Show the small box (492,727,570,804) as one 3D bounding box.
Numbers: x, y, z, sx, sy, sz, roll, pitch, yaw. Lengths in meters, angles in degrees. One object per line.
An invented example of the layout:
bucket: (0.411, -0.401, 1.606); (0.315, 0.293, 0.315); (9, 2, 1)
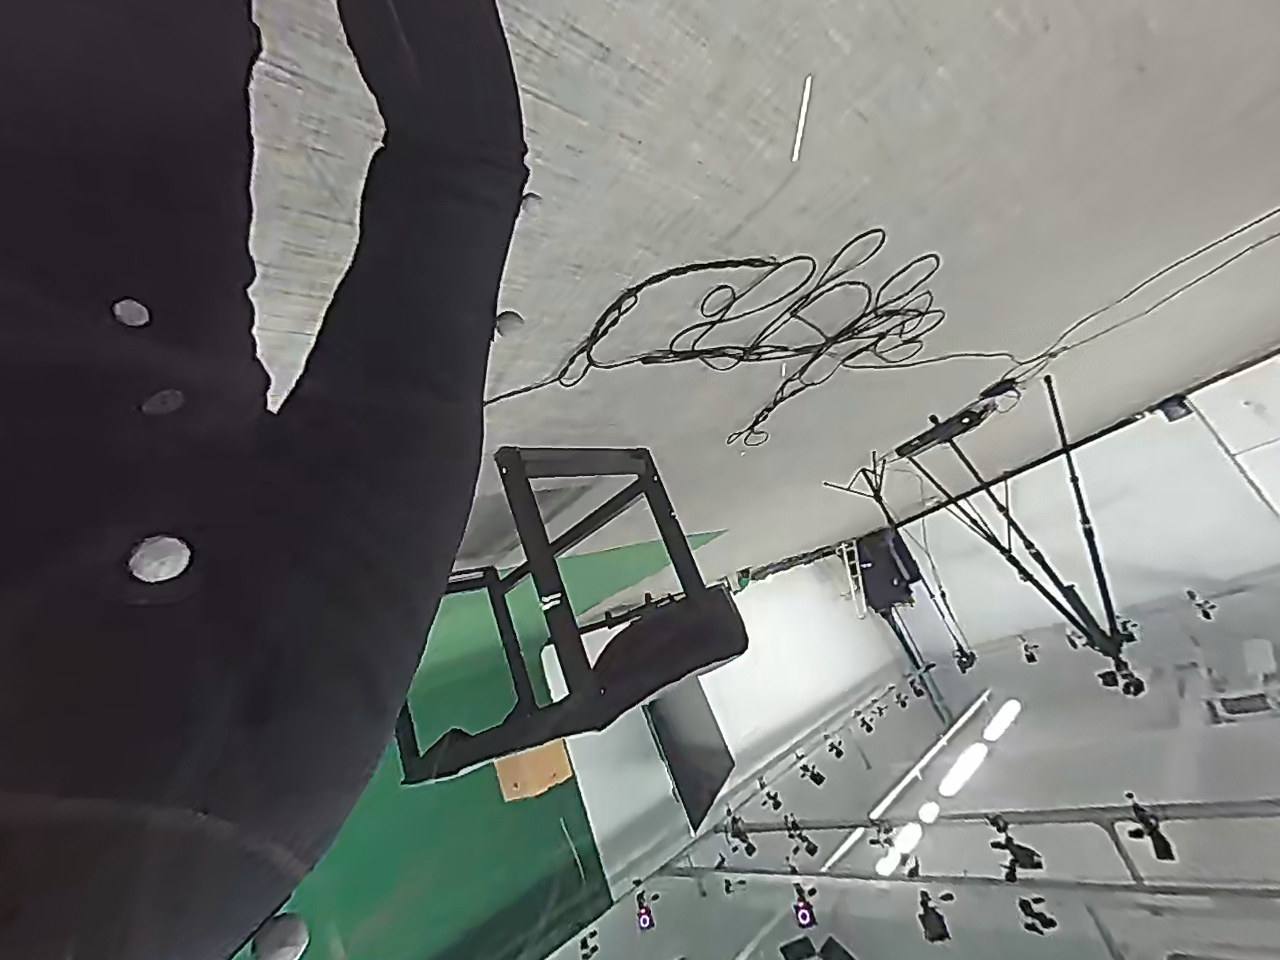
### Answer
small box: (-0.367, 0.938, 1.787); (0.168, 0.176, 0.179); (-2, 154, -47)
